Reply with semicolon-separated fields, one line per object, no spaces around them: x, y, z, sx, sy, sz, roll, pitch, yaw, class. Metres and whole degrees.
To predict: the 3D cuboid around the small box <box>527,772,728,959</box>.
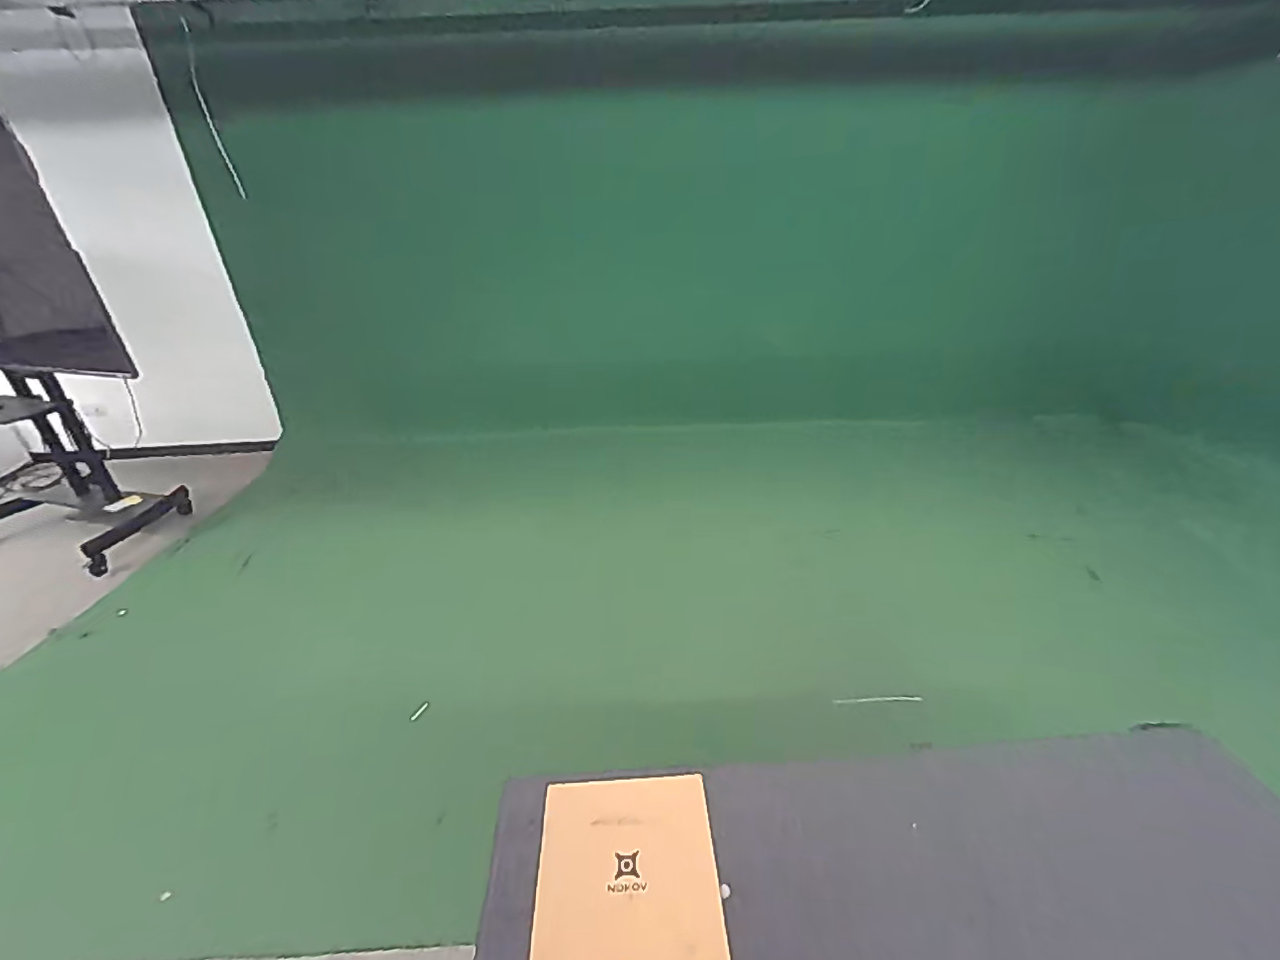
-0.010;0.424;0.529;0.168;0.176;0.179;-3;26;-2;small box
